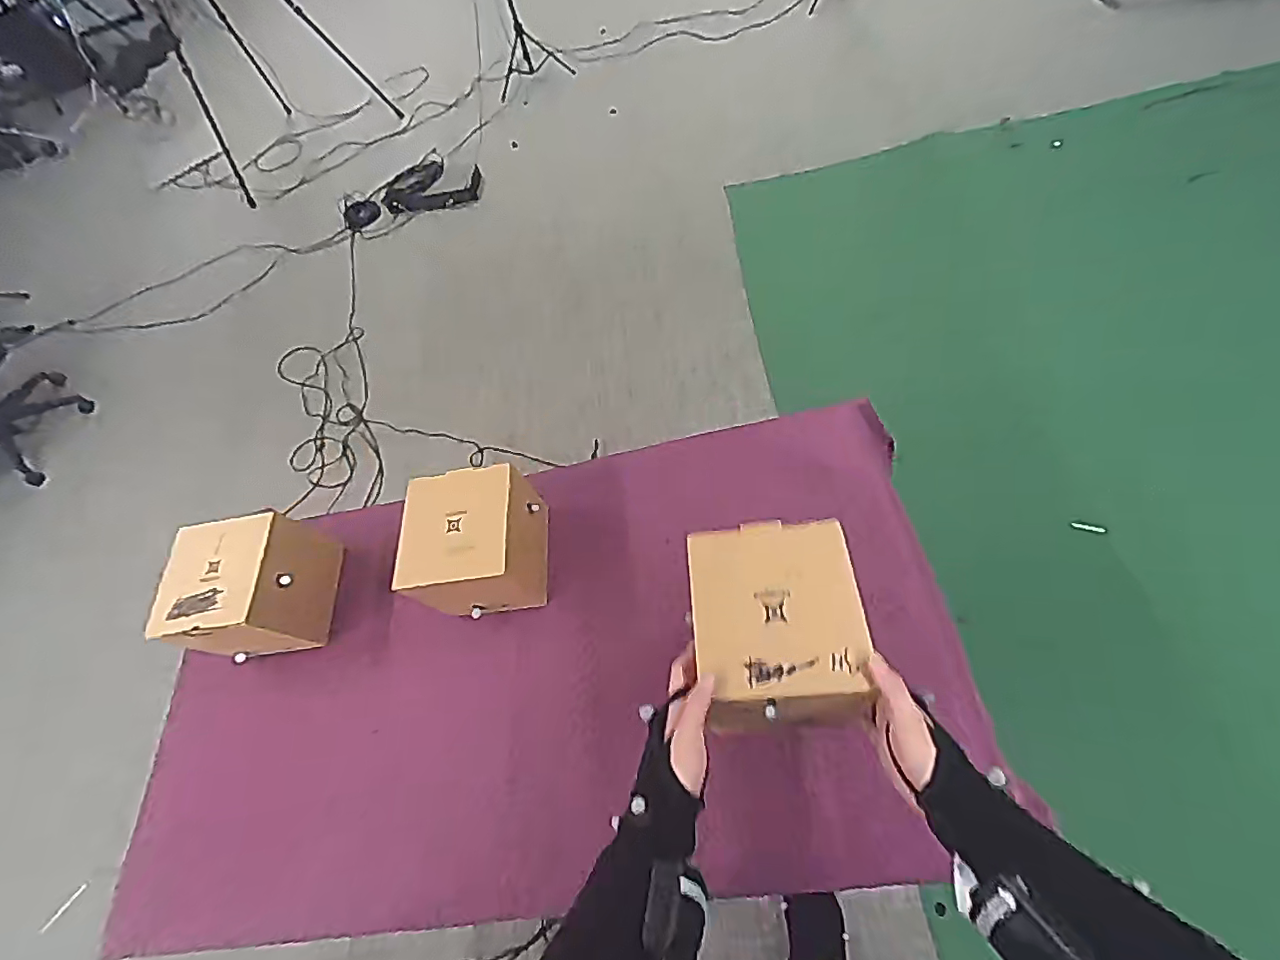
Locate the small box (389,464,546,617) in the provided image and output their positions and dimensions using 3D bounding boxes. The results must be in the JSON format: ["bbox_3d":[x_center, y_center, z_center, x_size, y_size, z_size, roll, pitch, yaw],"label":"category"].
[{"bbox_3d":[-0.247,0.098,0.822,0.168,0.176,0.179,-7,63,8],"label":"small box"}]

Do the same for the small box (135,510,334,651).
[{"bbox_3d":[-0.618,0.166,0.852,0.168,0.176,0.179,-8,62,6],"label":"small box"}]
